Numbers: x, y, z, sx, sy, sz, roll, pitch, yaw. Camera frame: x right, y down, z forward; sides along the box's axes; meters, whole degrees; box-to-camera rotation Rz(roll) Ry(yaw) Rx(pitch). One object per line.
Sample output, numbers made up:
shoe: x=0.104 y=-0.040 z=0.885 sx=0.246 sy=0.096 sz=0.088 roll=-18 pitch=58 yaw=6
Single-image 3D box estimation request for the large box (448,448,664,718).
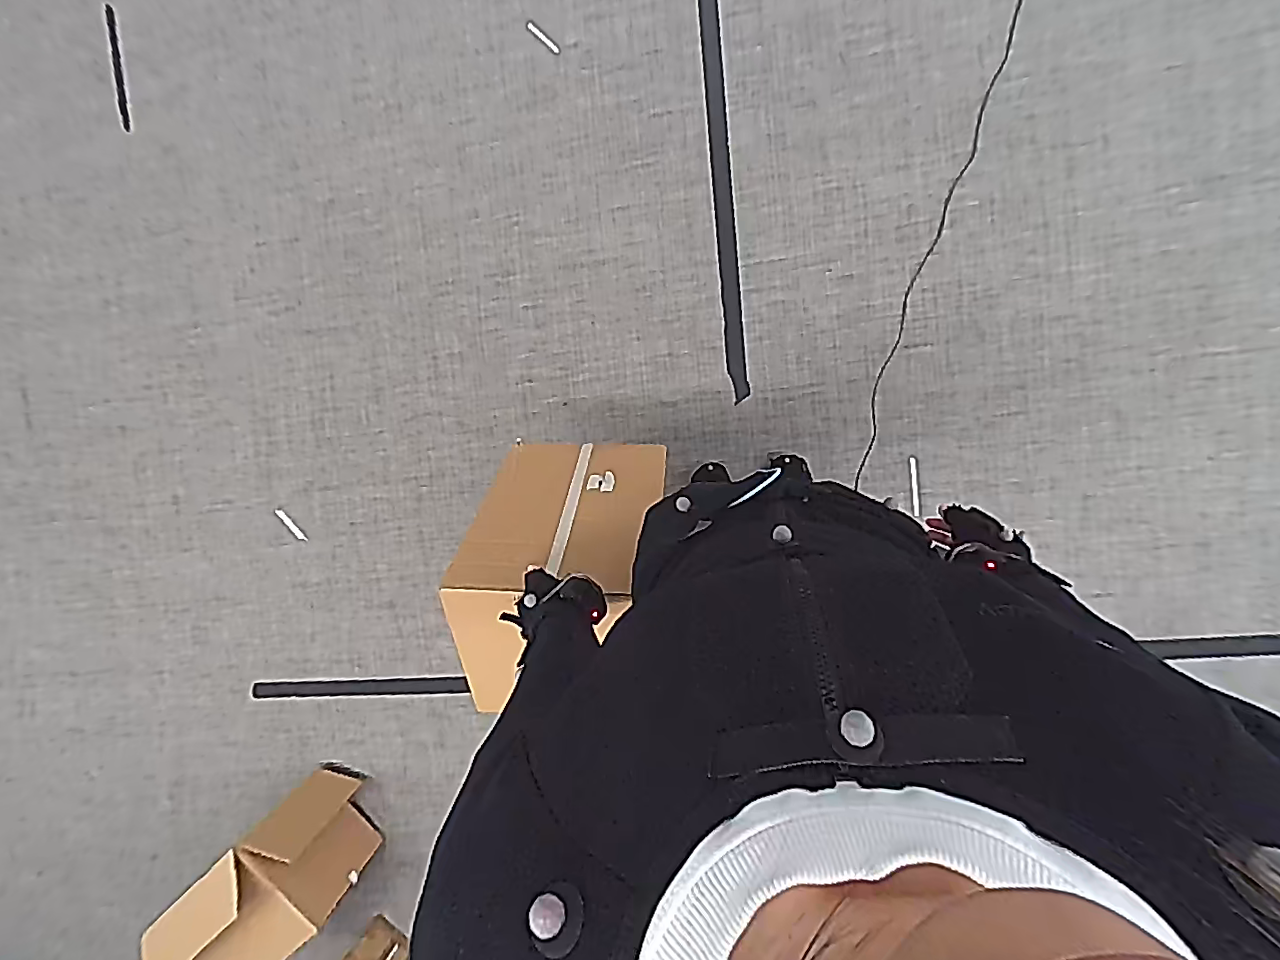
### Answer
large box: x=-0.114 y=0.177 z=1.010 sx=0.320 sy=0.408 sz=0.320 roll=2 pitch=124 yaw=3
